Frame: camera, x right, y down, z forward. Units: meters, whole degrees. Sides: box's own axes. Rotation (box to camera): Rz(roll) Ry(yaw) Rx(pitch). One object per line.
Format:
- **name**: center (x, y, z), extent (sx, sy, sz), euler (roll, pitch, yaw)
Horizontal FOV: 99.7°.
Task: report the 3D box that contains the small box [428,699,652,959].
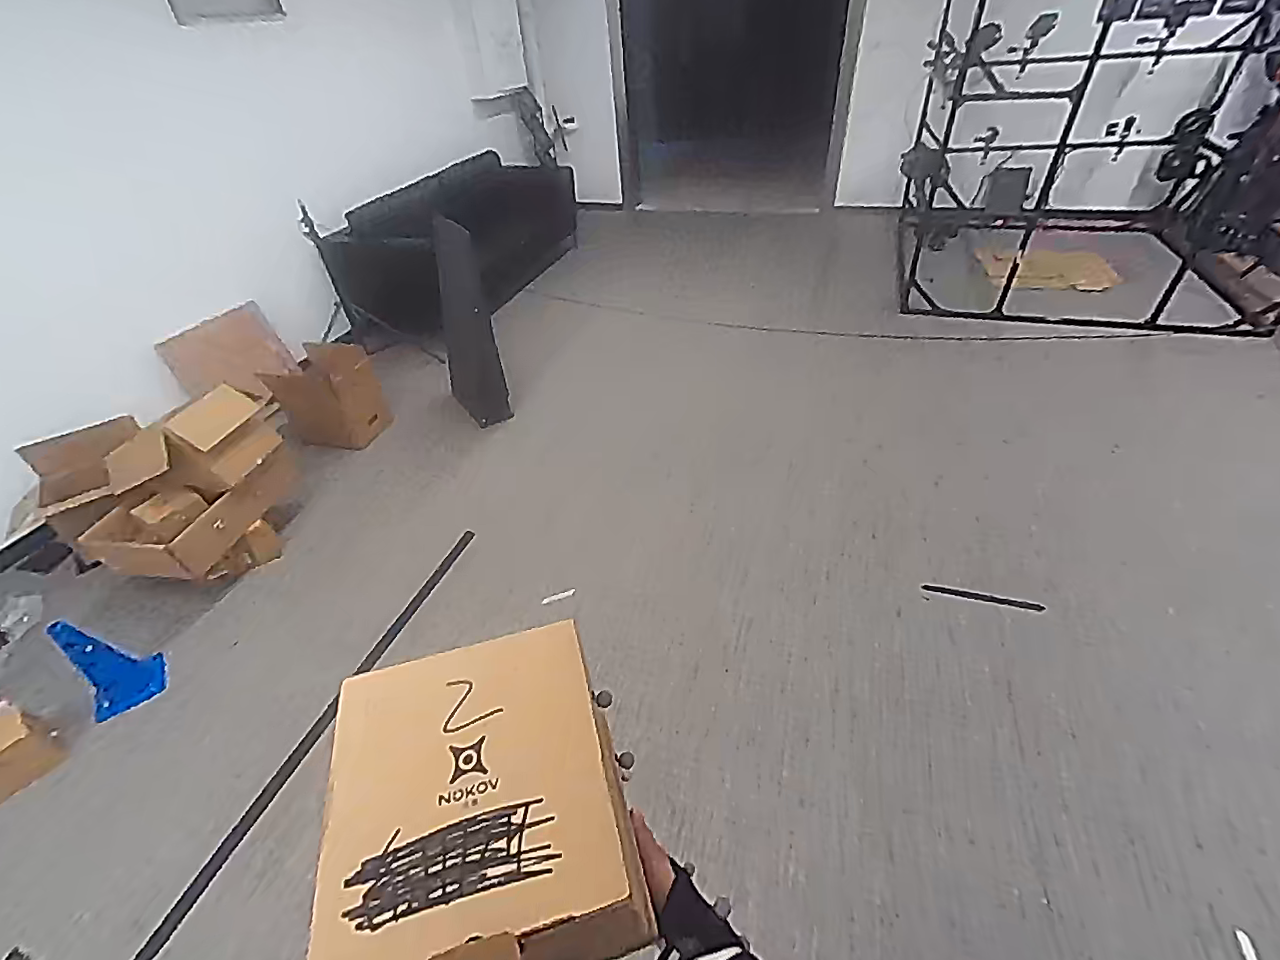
- **small box**: center (-0.089, 0.342, 0.507), extent (0.168, 0.176, 0.179), euler (-13, 46, -9)
